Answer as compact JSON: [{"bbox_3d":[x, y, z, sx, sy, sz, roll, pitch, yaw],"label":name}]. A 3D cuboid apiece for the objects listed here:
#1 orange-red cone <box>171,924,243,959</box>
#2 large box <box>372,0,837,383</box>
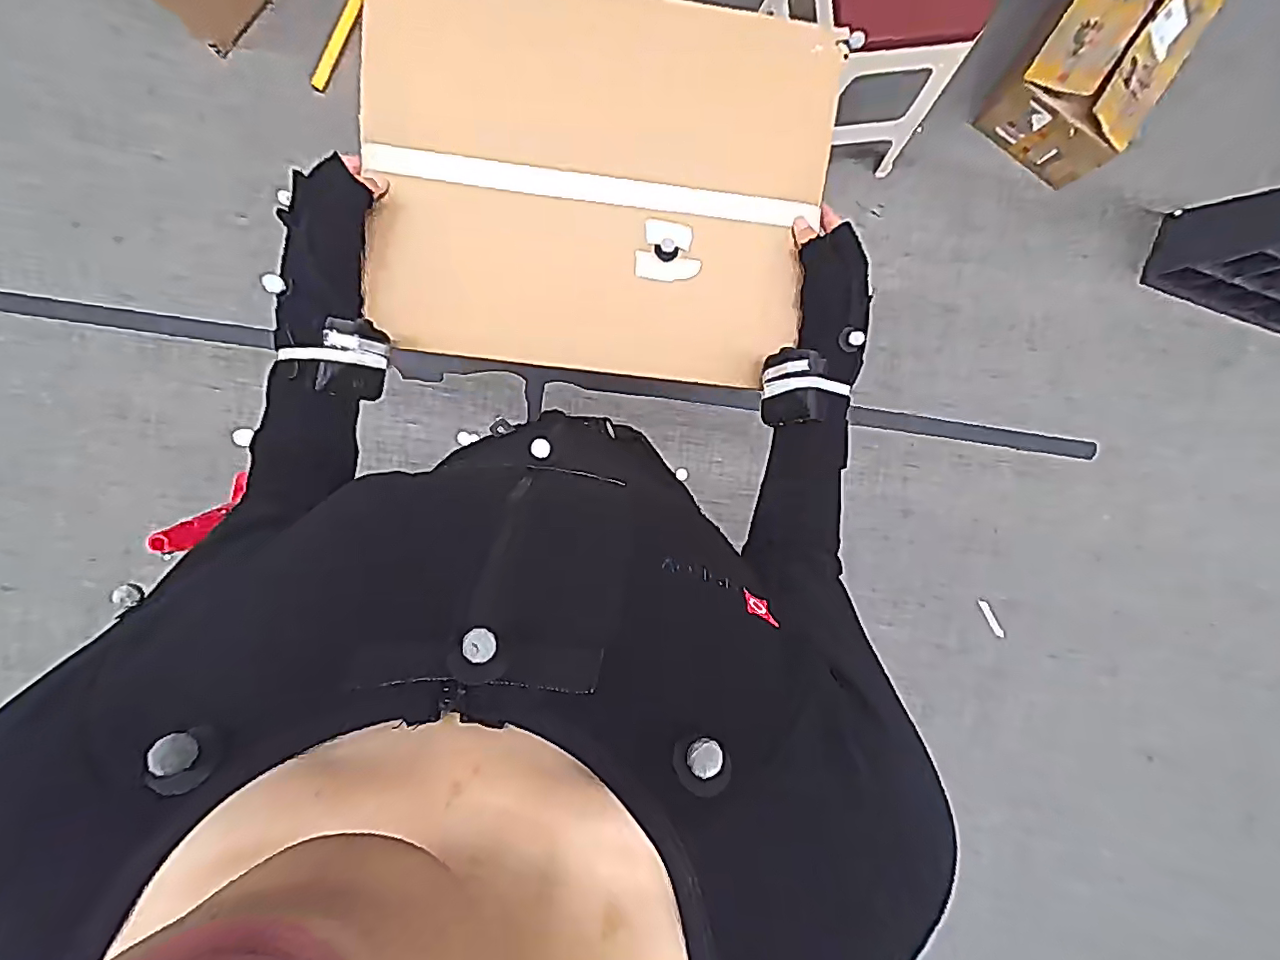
[{"bbox_3d":[-1.219,1.373,1.359,0.198,0.360,0.199,6,96,-3],"label":"orange-red cone"},{"bbox_3d":[-0.047,-0.287,0.632,0.408,0.320,0.320,5,100,-5],"label":"large box"}]
